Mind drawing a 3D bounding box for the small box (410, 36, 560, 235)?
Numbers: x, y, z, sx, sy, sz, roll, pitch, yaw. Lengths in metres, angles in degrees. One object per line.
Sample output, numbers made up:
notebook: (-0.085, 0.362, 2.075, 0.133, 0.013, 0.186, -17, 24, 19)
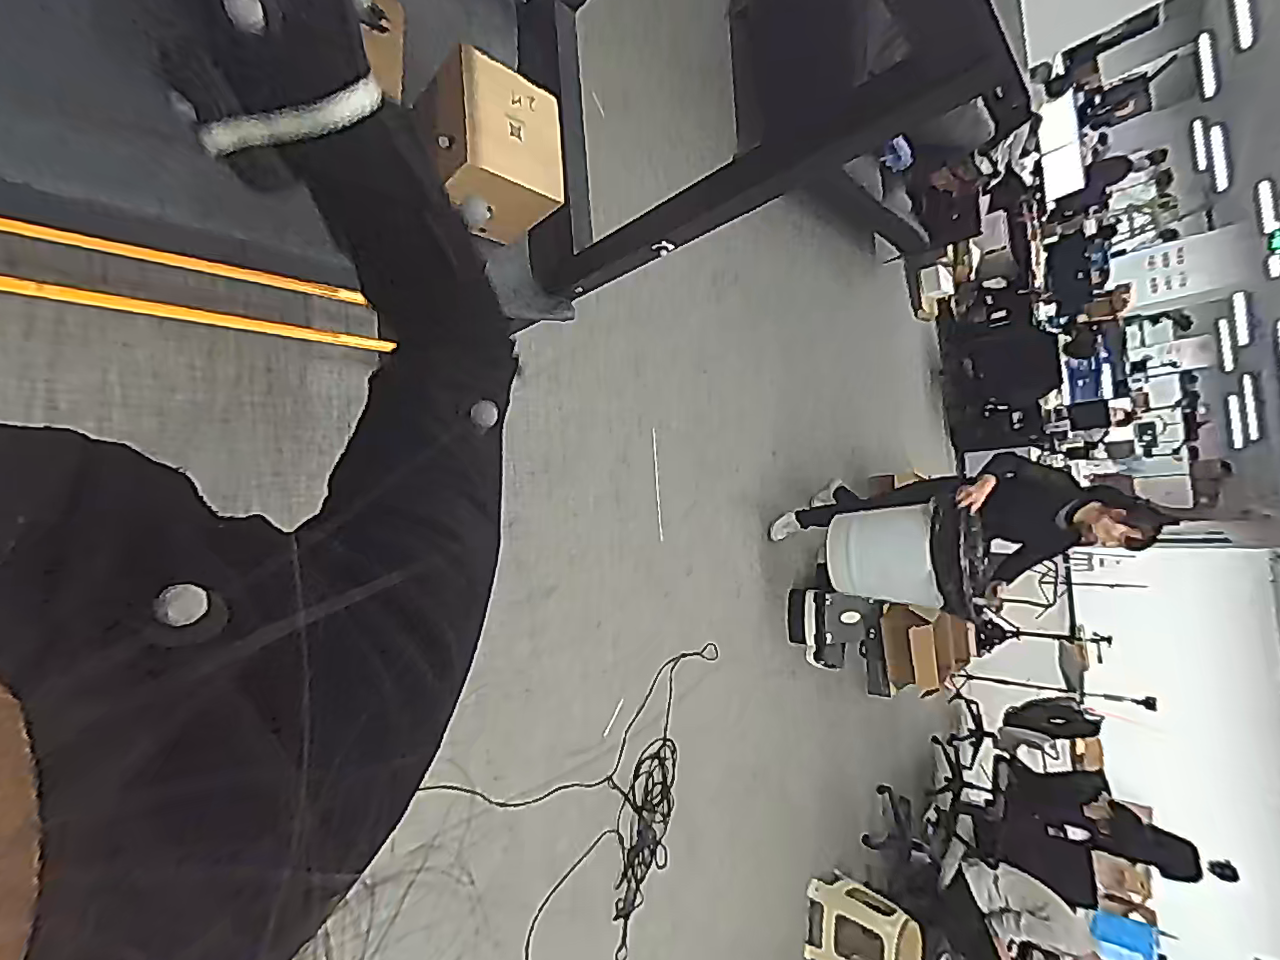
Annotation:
small box: (-0.244, -0.515, 0.846, 0.168, 0.176, 0.179, -1, 85, -46)
